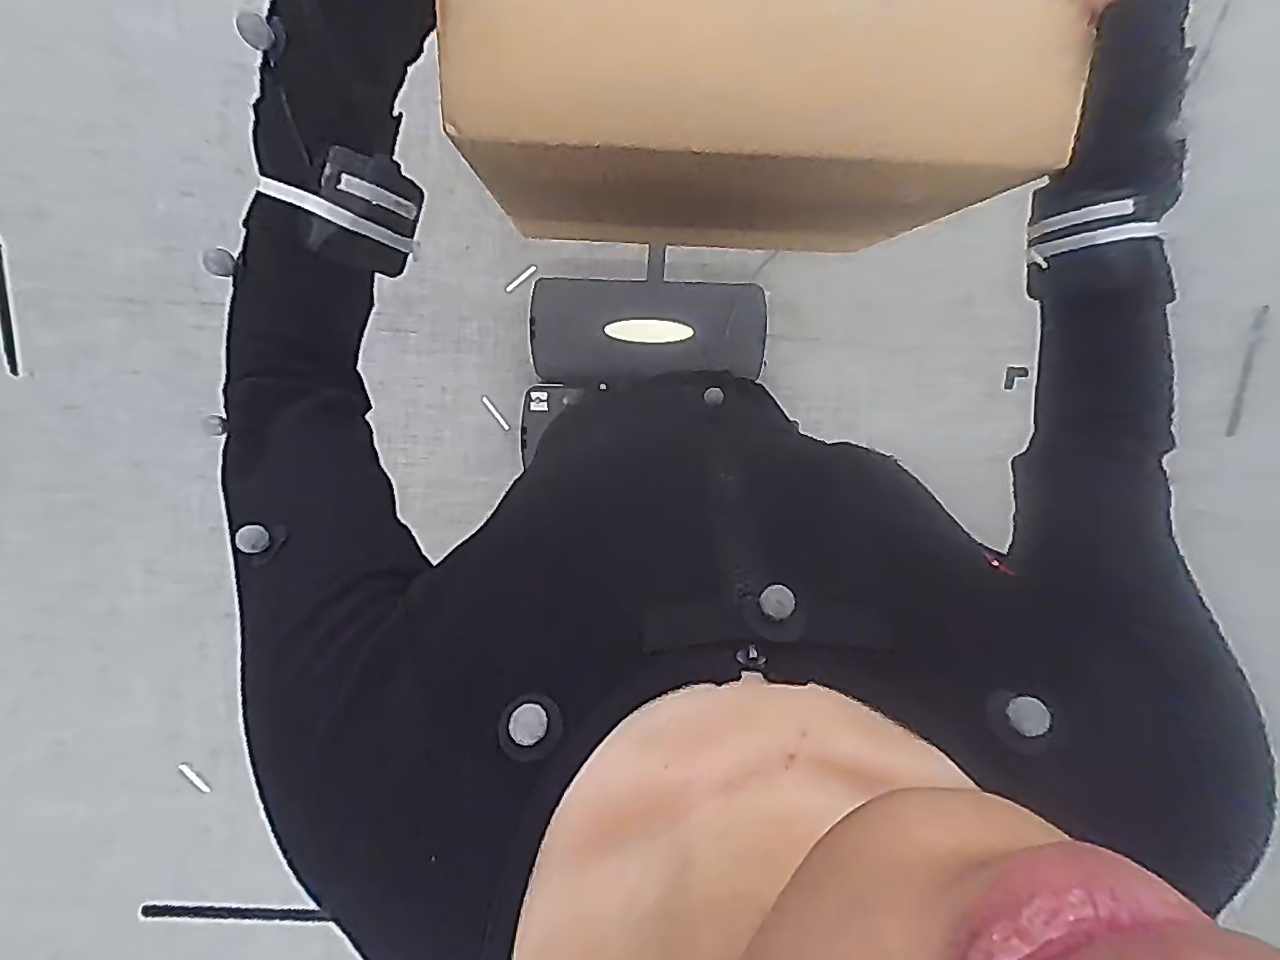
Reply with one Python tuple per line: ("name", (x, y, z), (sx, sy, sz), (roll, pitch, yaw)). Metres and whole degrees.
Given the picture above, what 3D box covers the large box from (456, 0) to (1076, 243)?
("large box", (0.073, -0.401, 0.468), (0.408, 0.320, 0.320), (0, 104, -4))
